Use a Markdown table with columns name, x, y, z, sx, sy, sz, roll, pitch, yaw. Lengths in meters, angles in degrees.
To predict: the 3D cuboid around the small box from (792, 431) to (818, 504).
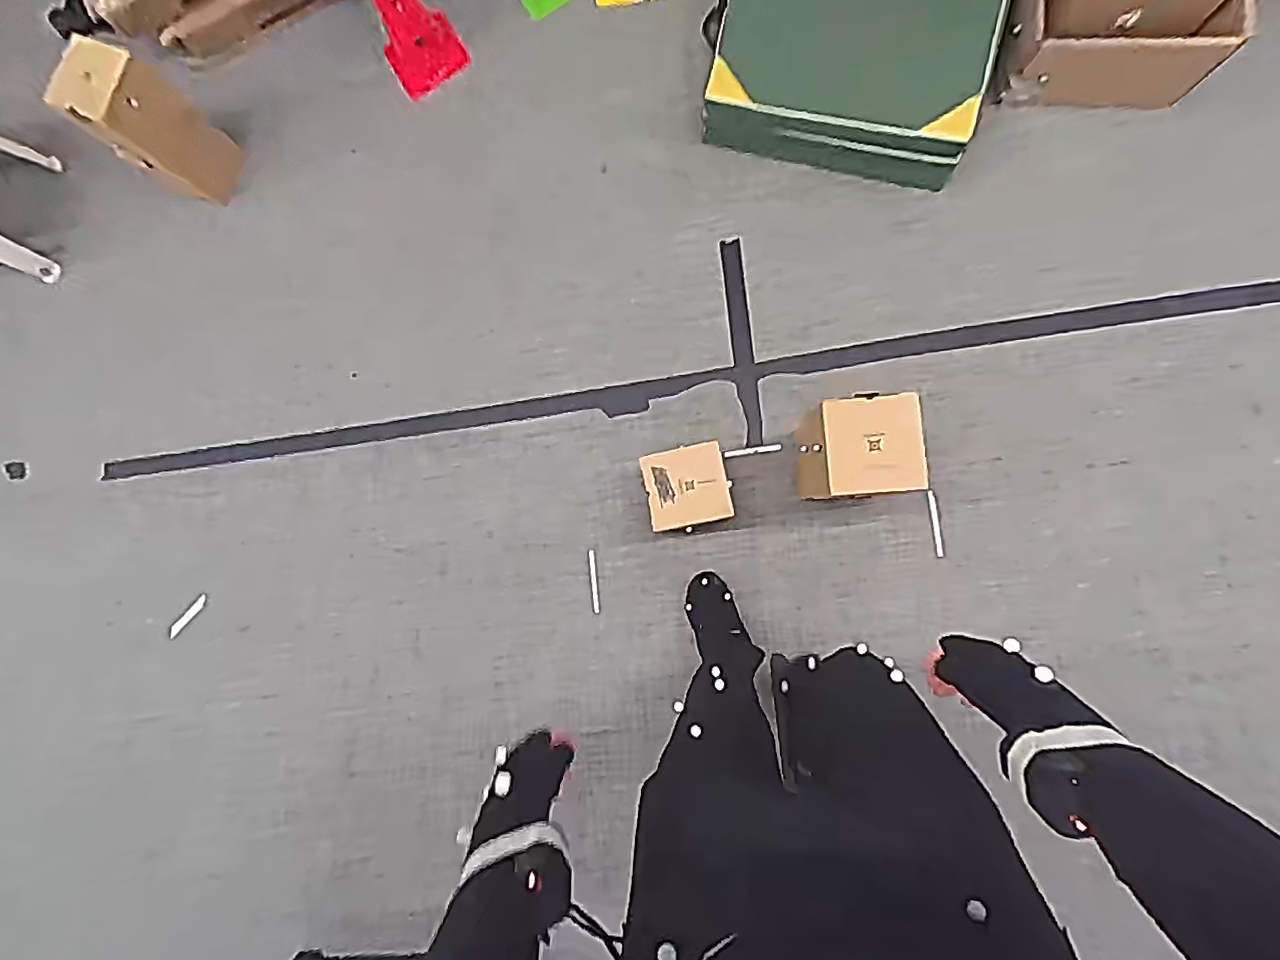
| name | x | y | z | sx | sy | sz | roll | pitch | yaw |
| --- | --- | --- | --- | --- | --- | --- | --- | --- | --- |
| small box | 0.446 | -0.036 | 1.197 | 0.179 | 0.176 | 0.168 | -3 | 83 | 5 |

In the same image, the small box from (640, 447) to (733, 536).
| name | x | y | z | sx | sy | sz | roll | pitch | yaw |
| --- | --- | --- | --- | --- | --- | --- | --- | --- | --- |
| small box | 0.107 | 0.032 | 1.226 | 0.179 | 0.176 | 0.168 | -12 | 83 | 4 |

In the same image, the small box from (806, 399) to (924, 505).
| name | x | y | z | sx | sy | sz | roll | pitch | yaw |
| --- | --- | --- | --- | --- | --- | --- | --- | --- | --- |
| small box | 0.420 | -0.047 | 1.037 | 0.168 | 0.176 | 0.179 | -4 | 85 | 7 |
